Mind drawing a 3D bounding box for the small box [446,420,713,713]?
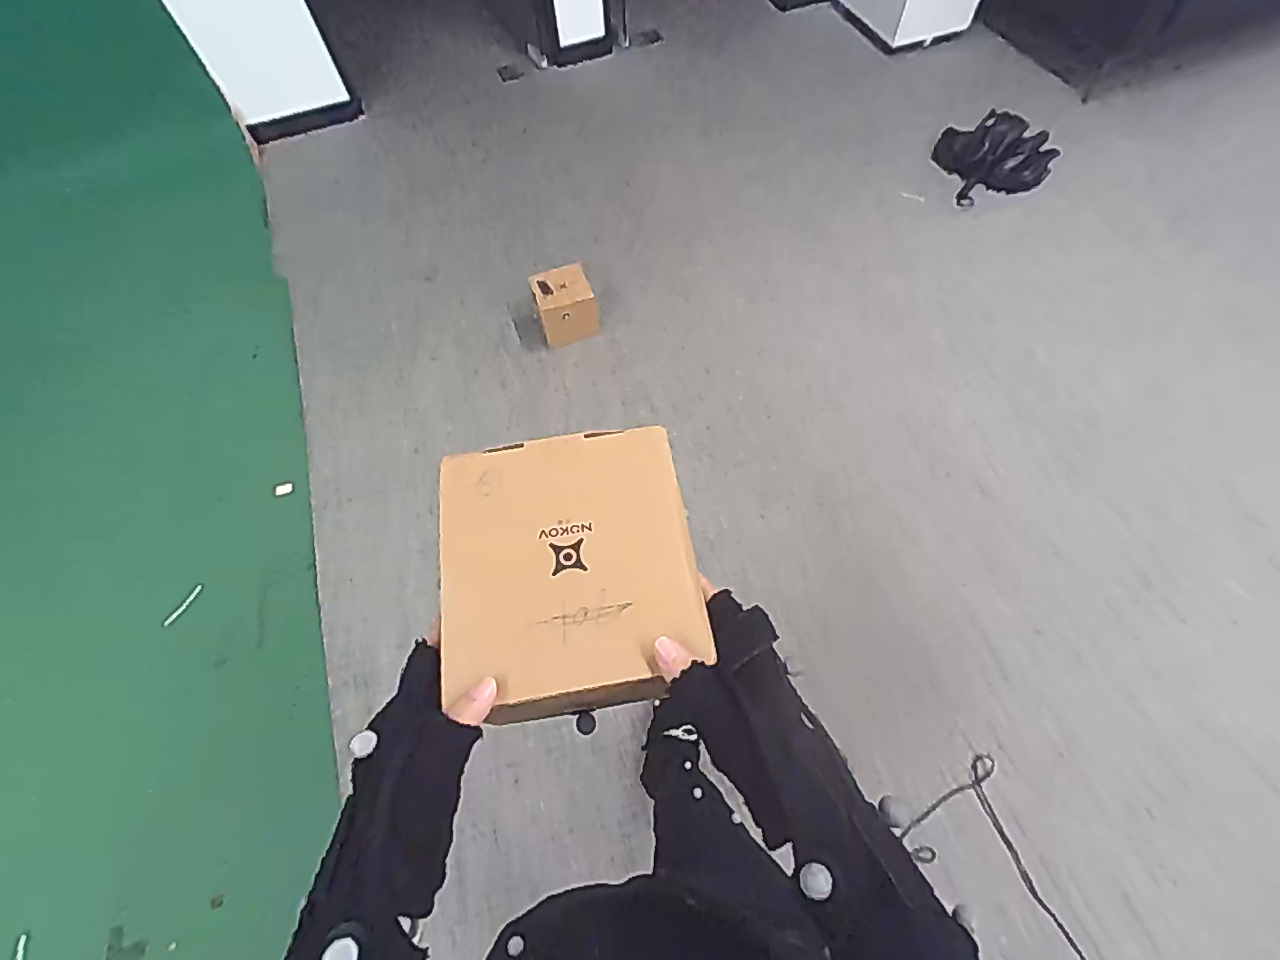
[{"bbox_3d":[-0.049,0.077,0.435,0.168,0.176,0.179,-9,64,-4],"label":"small box"}]

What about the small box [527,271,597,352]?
[{"bbox_3d":[-0.253,-0.547,1.775,0.179,0.176,0.168,-19,64,-8],"label":"small box"}]
